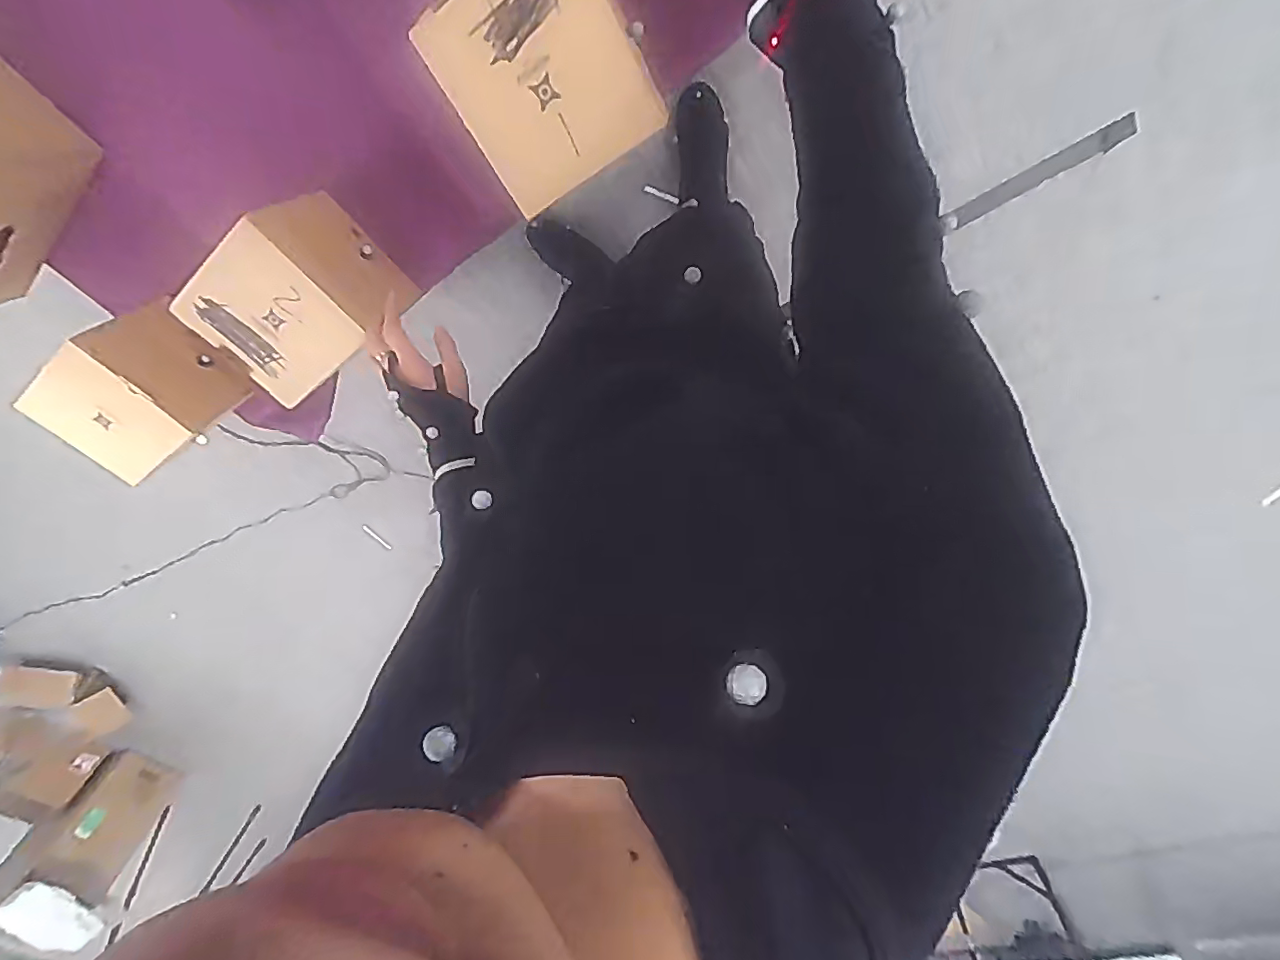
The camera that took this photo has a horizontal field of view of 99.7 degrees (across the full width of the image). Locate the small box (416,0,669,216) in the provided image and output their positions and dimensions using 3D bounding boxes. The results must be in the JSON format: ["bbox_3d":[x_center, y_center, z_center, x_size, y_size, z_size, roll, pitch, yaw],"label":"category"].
[{"bbox_3d":[-0.081,-0.407,0.549,0.168,0.176,0.179,-23,123,21],"label":"small box"}]

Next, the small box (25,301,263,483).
[{"bbox_3d":[-0.716,-0.132,0.803,0.179,0.176,0.168,-28,120,22],"label":"small box"}]
